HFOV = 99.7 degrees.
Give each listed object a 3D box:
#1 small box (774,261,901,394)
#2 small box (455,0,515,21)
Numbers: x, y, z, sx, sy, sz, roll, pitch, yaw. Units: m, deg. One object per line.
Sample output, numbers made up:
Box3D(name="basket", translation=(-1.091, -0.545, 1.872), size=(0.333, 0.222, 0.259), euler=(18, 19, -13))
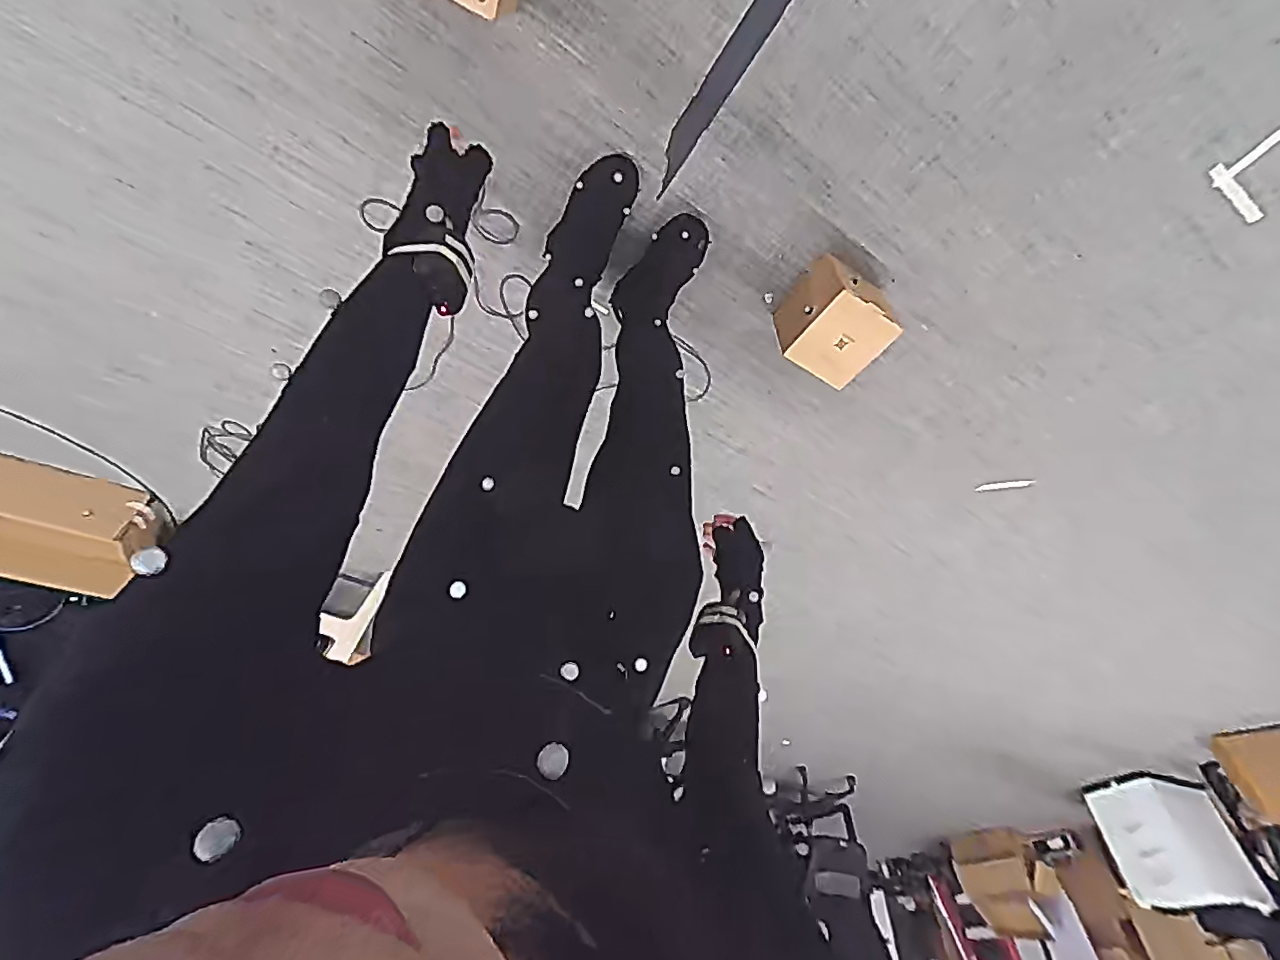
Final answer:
Box3D(name="small box", translation=(0.402, -0.323, 1.138), size=(0.168, 0.176, 0.179), euler=(25, 131, -20))
Box3D(name="small box", translation=(-0.239, -0.767, 0.723), size=(0.168, 0.176, 0.179), euler=(20, 131, -17))
